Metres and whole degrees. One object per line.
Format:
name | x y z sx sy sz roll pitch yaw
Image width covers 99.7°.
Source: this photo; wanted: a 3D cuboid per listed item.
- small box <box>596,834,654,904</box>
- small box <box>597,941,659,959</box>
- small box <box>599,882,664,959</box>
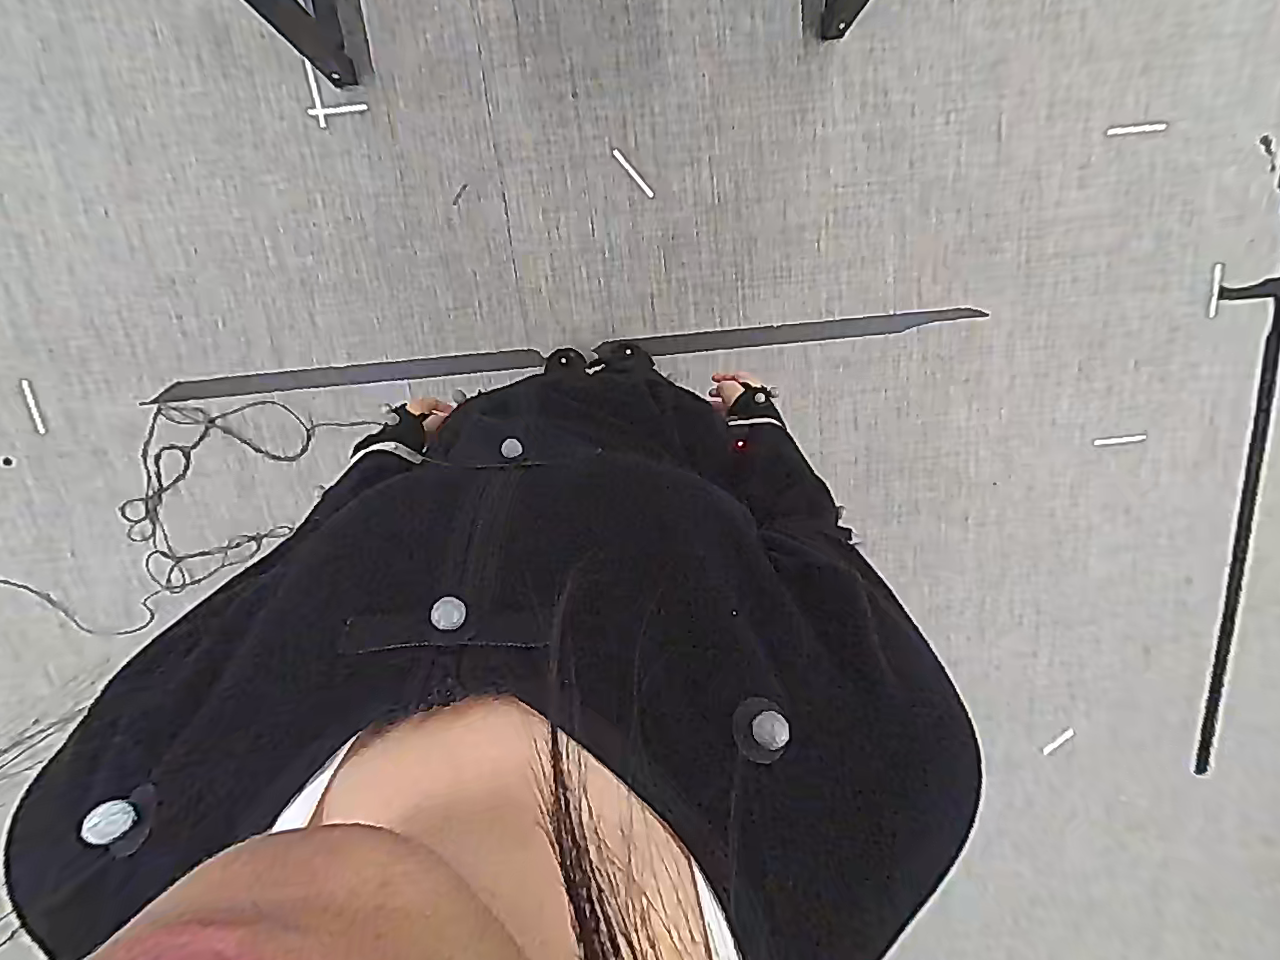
small box | -0.045 1.283 1.739 0.179 0.176 0.168 -7 104 -2
small box | -0.024 1.360 1.421 0.168 0.176 0.179 -5 103 -3
small box | -0.027 1.318 1.579 0.179 0.176 0.168 -4 103 -3
